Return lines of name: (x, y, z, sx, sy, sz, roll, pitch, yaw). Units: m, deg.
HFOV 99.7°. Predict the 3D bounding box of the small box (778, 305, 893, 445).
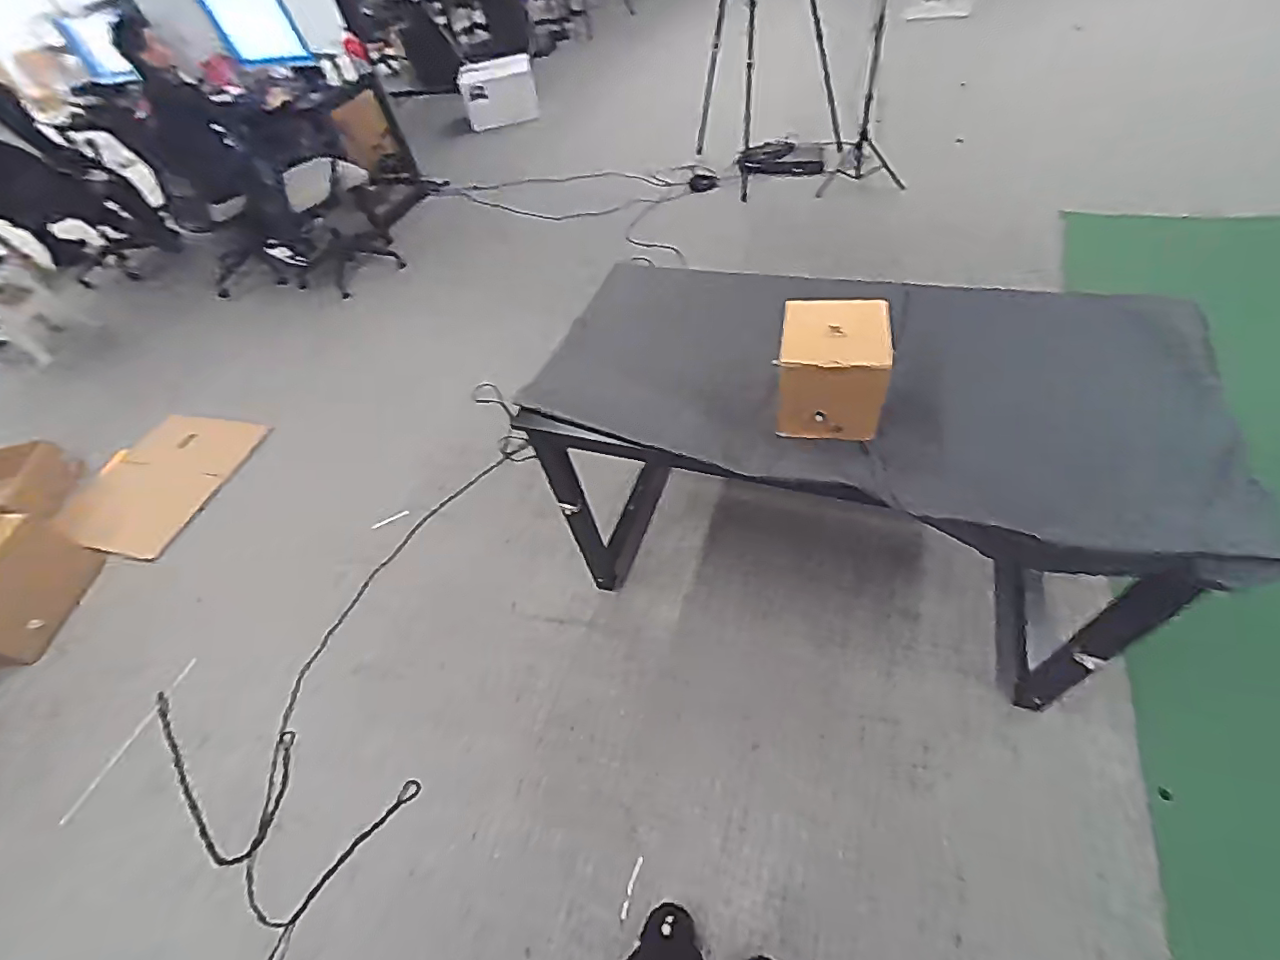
small box: (0.337, -0.185, 0.953, 0.168, 0.176, 0.179, 5, 53, 14)
